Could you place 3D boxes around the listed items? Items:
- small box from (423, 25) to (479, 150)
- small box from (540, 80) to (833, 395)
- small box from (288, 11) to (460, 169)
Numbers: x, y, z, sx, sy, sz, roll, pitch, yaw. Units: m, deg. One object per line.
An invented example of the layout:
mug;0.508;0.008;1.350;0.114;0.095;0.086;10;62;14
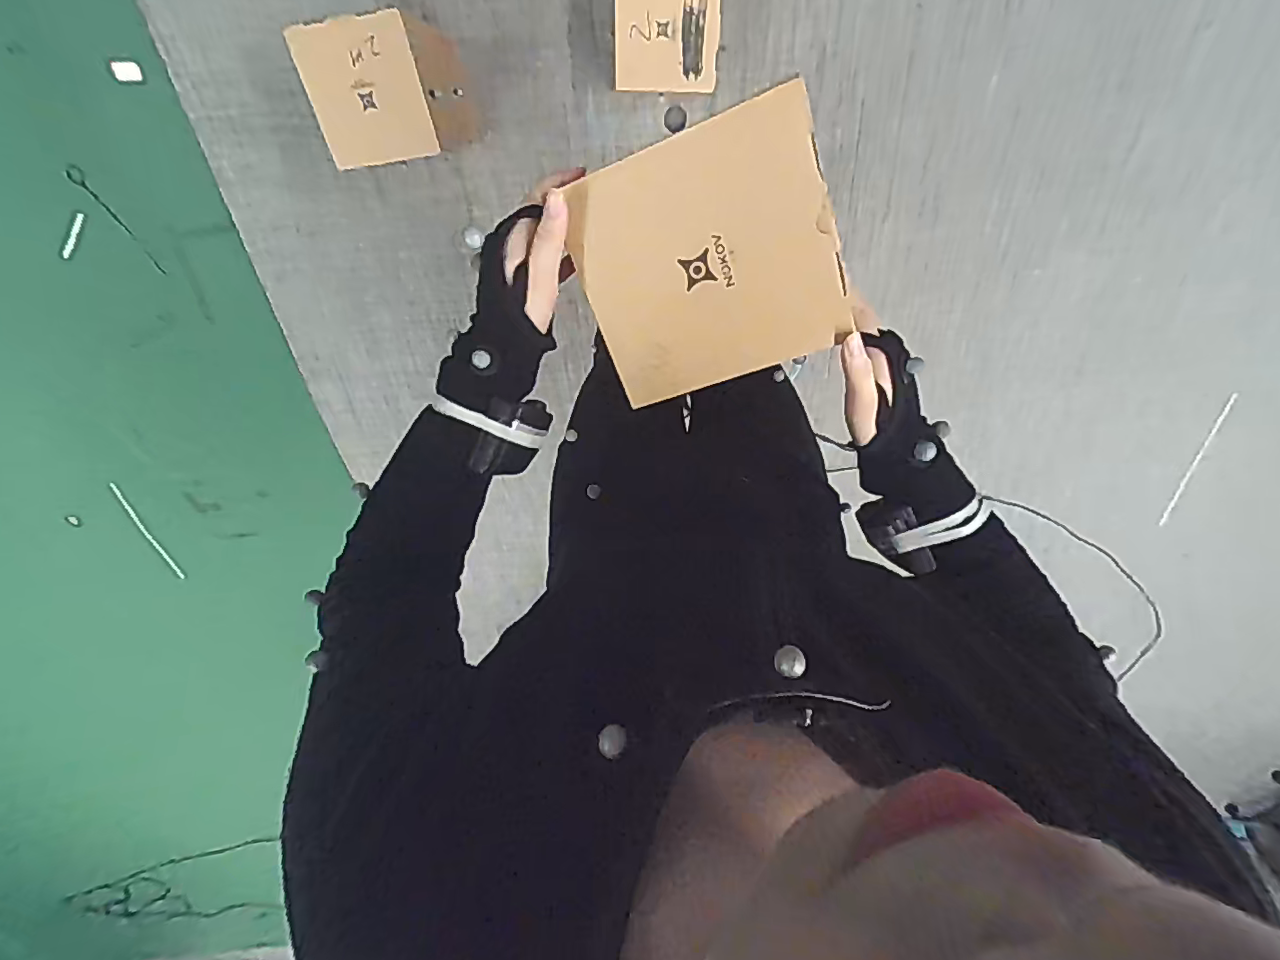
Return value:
small box;-0.408;-0.707;0.992;0.168;0.176;0.179;-7;124;1
small box;0.048;-0.195;0.454;0.179;0.176;0.168;-15;117;18
small box;-0.402;-0.611;0.858;0.168;0.176;0.179;-8;124;1
